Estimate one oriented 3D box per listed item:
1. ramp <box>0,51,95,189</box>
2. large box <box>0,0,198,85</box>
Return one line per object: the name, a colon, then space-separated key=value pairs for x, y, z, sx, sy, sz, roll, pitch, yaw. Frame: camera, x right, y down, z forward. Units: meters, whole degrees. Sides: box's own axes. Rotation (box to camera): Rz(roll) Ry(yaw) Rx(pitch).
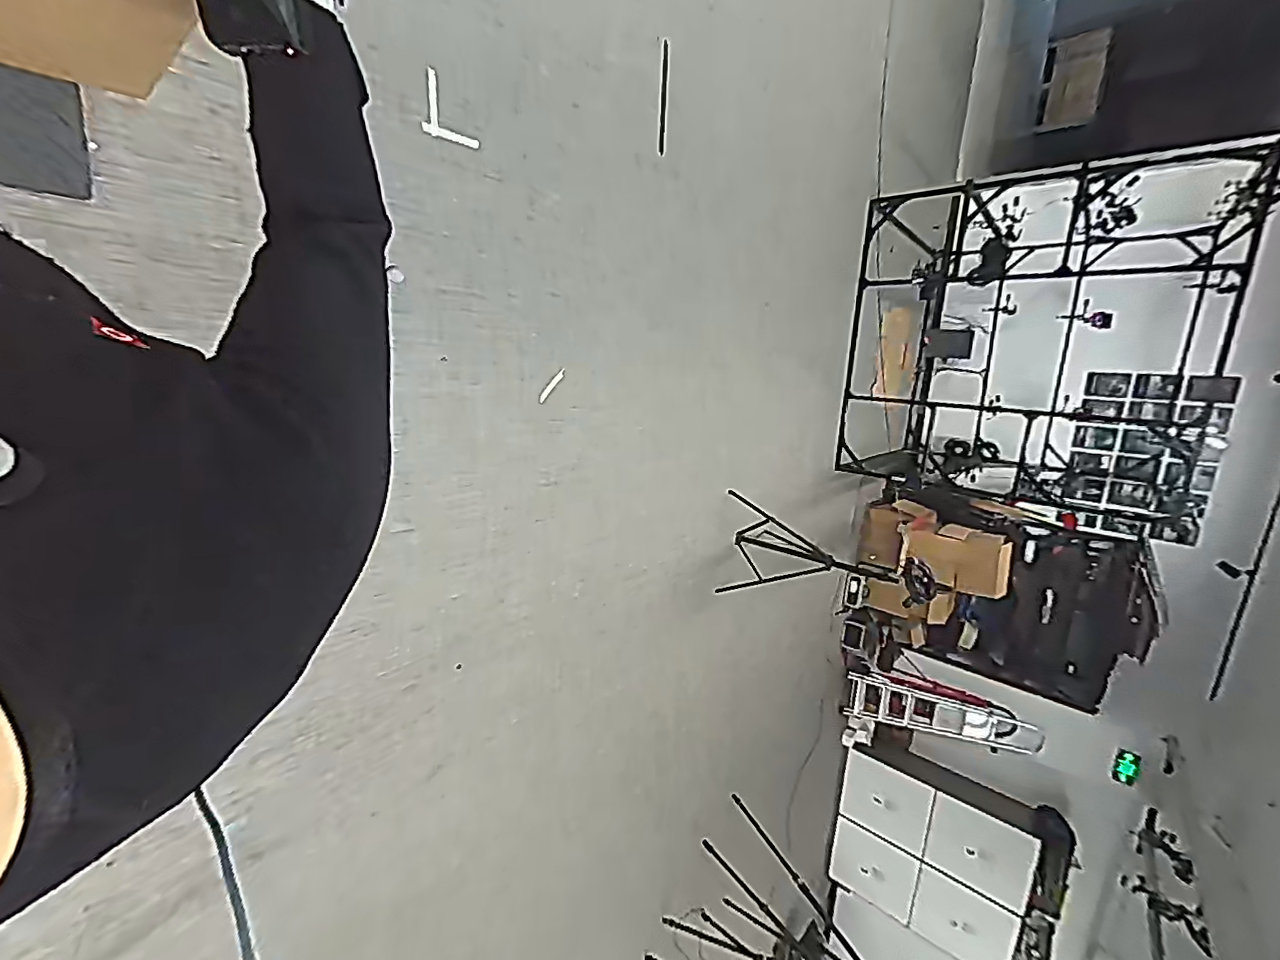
ramp: x=-1.090 y=-0.972 z=0.678 sx=0.509 sy=0.206 sz=0.991 roll=-15 pitch=112 yaw=-49
large box: x=-0.512 y=-0.475 z=0.266 sx=0.408 sy=0.320 sz=0.320 roll=-14 pitch=112 yaw=-47
